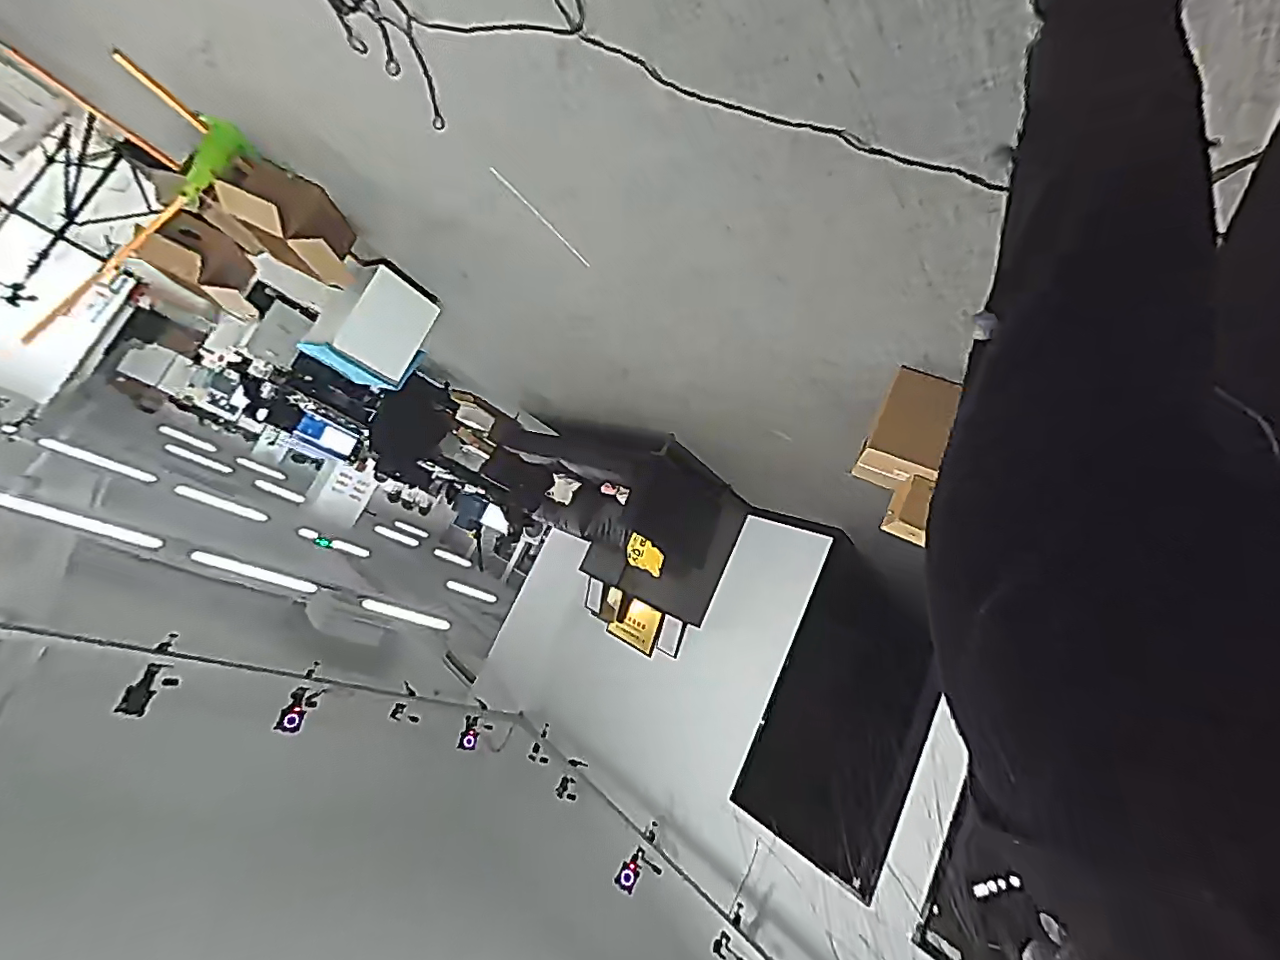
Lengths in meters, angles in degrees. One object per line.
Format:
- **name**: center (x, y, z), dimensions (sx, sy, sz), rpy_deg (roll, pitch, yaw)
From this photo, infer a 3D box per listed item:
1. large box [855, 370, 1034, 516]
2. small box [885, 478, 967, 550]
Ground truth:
- **large box**: center (1.007, -0.120, 1.828), dimensions (0.408, 0.320, 0.320), rpy_deg (24, 169, 17)
- **small box**: center (0.941, 0.114, 1.782), dimensions (0.168, 0.176, 0.179), rpy_deg (24, 171, 13)
